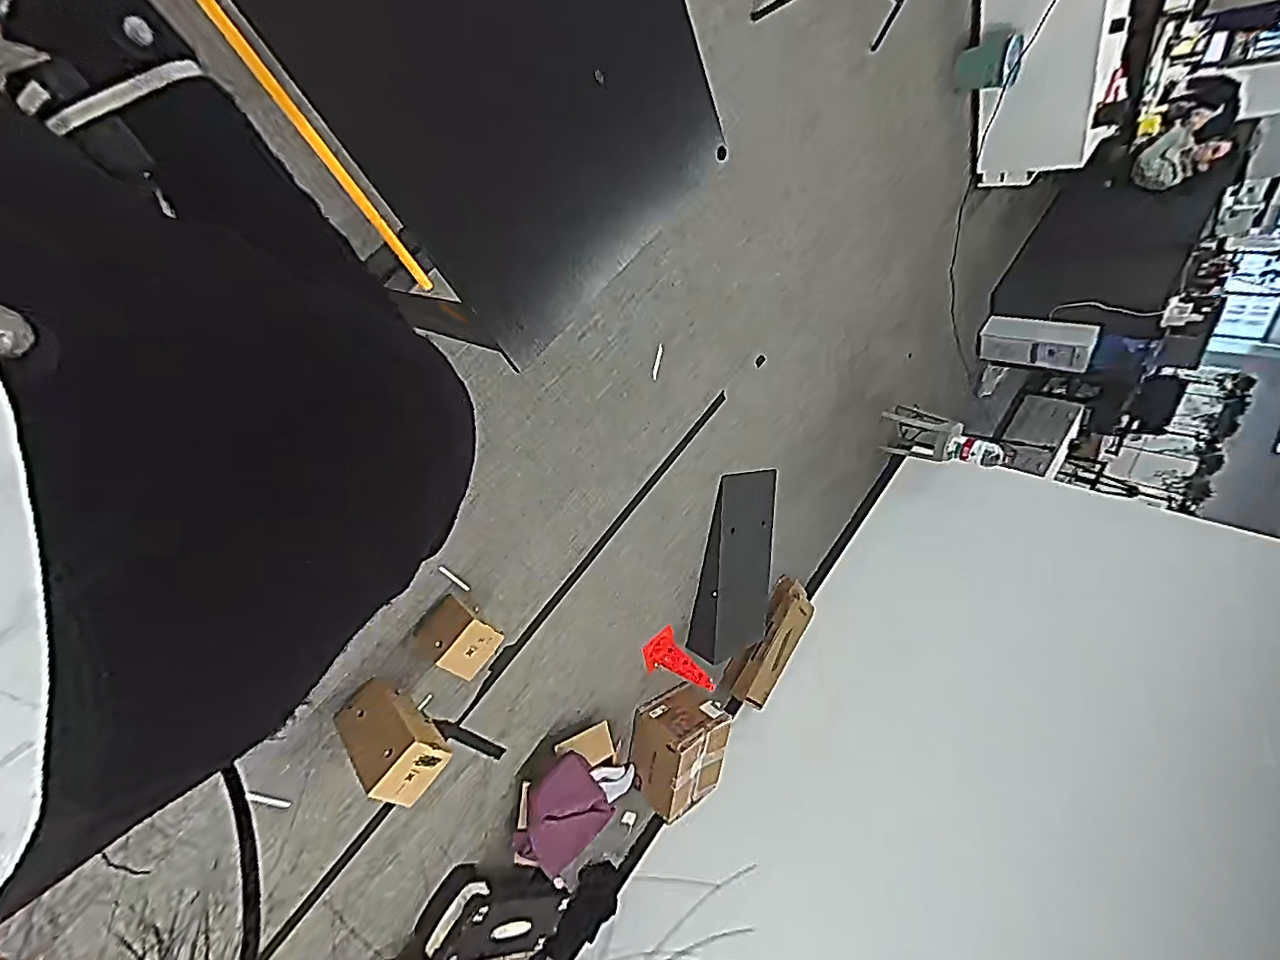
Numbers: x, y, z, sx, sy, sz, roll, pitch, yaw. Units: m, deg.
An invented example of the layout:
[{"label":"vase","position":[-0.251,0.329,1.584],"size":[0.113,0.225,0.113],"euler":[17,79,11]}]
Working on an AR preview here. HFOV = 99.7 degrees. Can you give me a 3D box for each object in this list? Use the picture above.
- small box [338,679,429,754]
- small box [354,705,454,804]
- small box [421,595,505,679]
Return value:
[{"label":"small box","position":[-0.791,0.746,1.669],"size":[0.168,0.176,0.179],"euler":[-49,135,-18]},{"label":"small box","position":[-0.679,0.781,1.550],"size":[0.179,0.176,0.168],"euler":[-50,136,-16]},{"label":"small box","position":[-0.585,0.509,1.764],"size":[0.179,0.176,0.168],"euler":[-52,137,-16]}]
